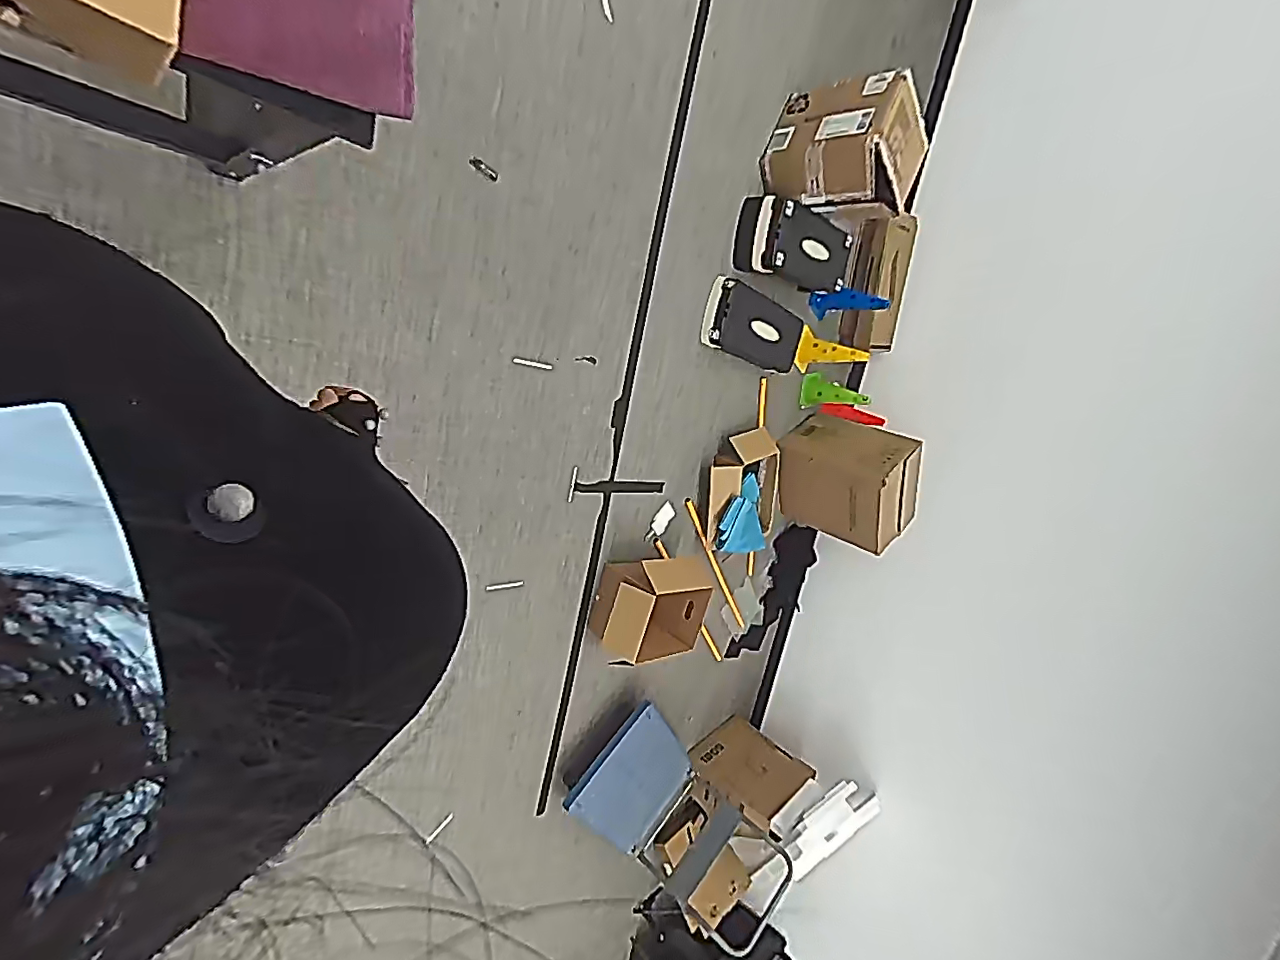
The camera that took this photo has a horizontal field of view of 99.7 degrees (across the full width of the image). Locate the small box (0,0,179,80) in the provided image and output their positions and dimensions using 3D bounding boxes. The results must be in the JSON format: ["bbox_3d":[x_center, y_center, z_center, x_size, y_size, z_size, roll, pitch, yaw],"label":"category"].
[{"bbox_3d":[-0.445,-0.438,0.393,0.168,0.176,0.179,4,102,-48],"label":"small box"}]
